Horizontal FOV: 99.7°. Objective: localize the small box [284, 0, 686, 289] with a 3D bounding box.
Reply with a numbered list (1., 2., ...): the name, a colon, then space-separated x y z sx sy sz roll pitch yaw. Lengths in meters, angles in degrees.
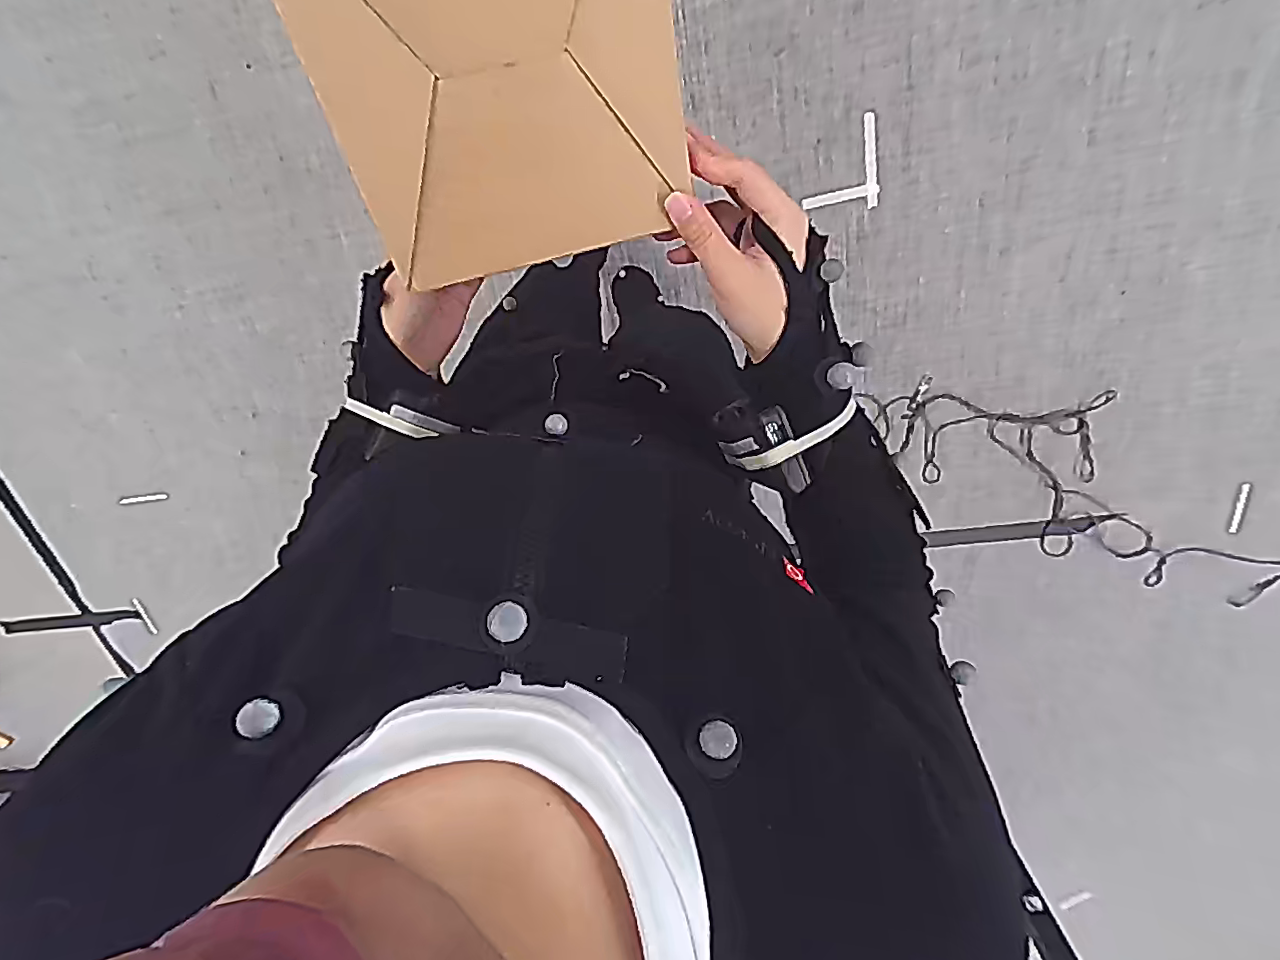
1. small box: -0.079 -0.236 0.313 0.168 0.176 0.179 -15 127 -4
